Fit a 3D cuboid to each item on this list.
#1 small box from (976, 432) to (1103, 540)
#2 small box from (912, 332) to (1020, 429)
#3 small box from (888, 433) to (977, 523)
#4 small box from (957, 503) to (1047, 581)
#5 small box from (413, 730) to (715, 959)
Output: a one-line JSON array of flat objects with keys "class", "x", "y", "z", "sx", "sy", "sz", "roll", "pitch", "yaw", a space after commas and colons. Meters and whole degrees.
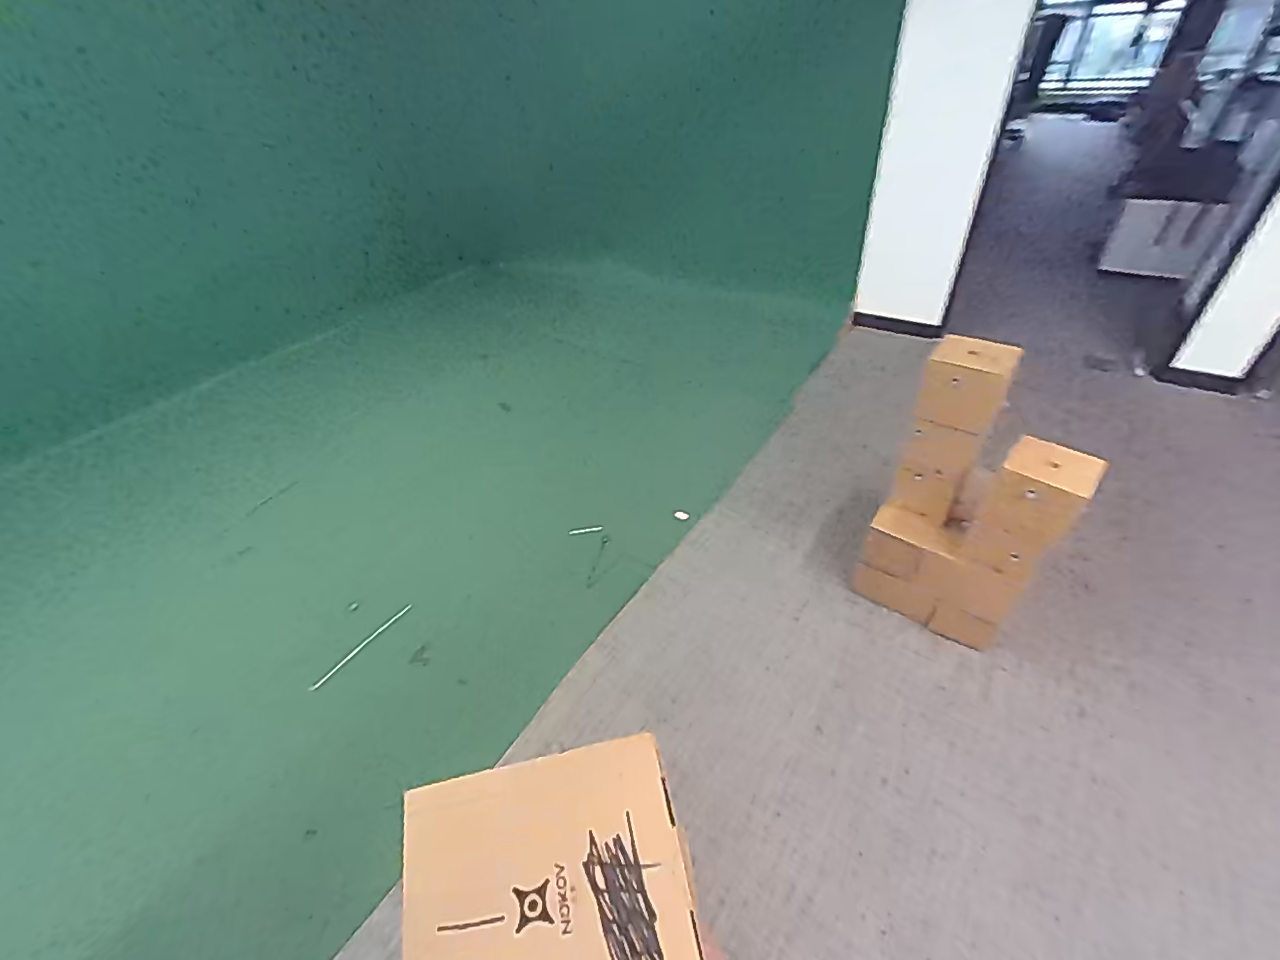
[{"class": "small box", "x": 0.952, "y": 0.018, "z": 1.298, "sx": 0.179, "sy": 0.176, "sz": 0.168, "roll": 29, "pitch": 51, "yaw": 33}, {"class": "small box", "x": 0.818, "y": -0.252, "z": 1.371, "sx": 0.179, "sy": 0.176, "sz": 0.168, "roll": 25, "pitch": 49, "yaw": 32}, {"class": "small box", "x": 0.853, "y": -0.007, "z": 1.590, "sx": 0.168, "sy": 0.176, "sz": 0.179, "roll": 27, "pitch": 49, "yaw": 34}, {"class": "small box", "x": 0.960, "y": 0.132, "z": 1.415, "sx": 0.168, "sy": 0.176, "sz": 0.179, "roll": 29, "pitch": 51, "yaw": 32}, {"class": "small box", "x": -0.051, "y": 0.301, "z": 0.400, "sx": 0.179, "sy": 0.176, "sz": 0.168, "roll": -10, "pitch": 55, "yaw": -6}]
